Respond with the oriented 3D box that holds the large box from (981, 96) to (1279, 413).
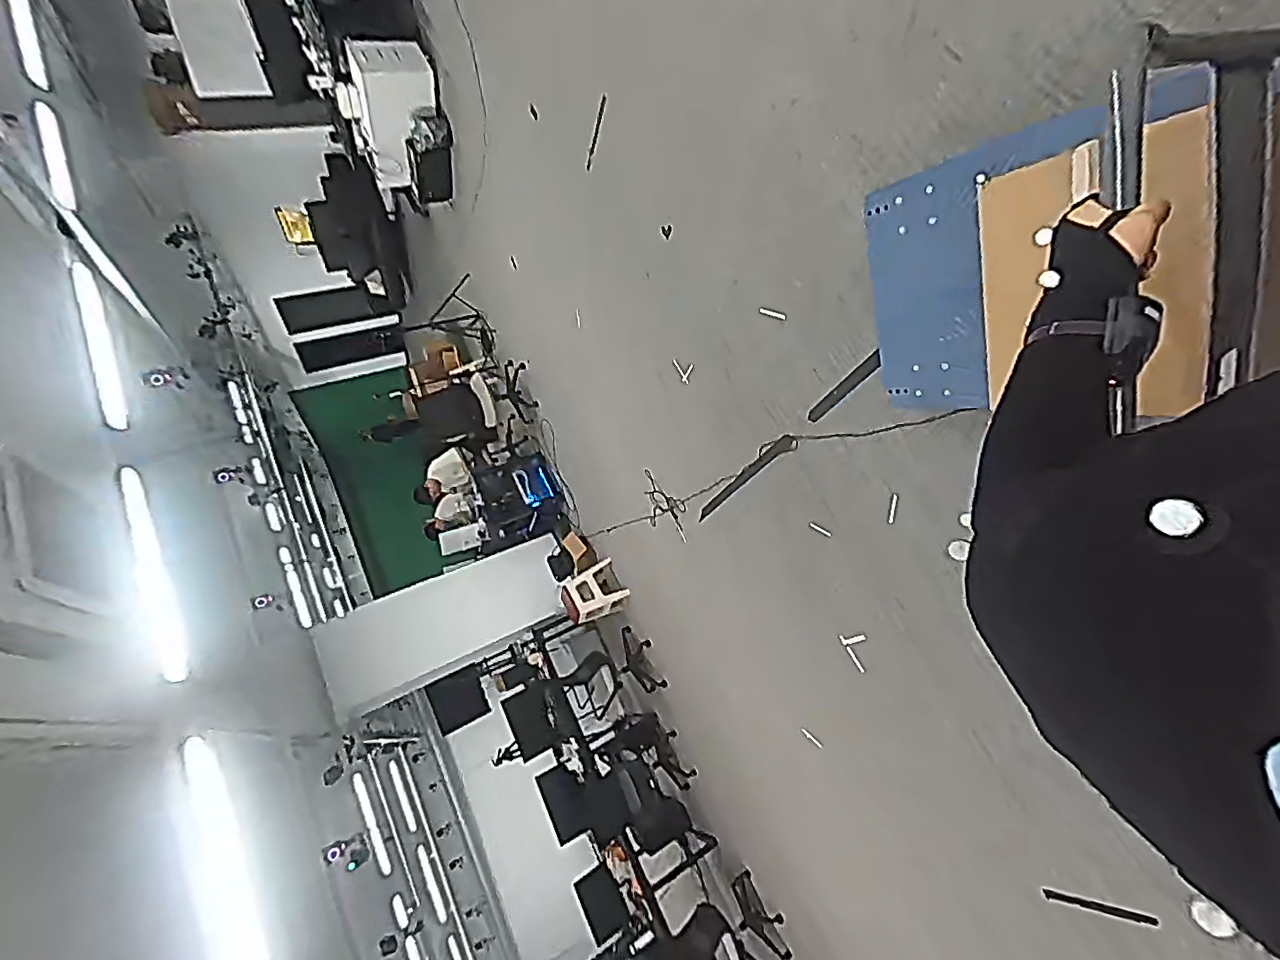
[{"bbox_3d":[0.826,-0.345,0.901,0.320,0.320,0.408,17,124,61],"label":"large box"}]
